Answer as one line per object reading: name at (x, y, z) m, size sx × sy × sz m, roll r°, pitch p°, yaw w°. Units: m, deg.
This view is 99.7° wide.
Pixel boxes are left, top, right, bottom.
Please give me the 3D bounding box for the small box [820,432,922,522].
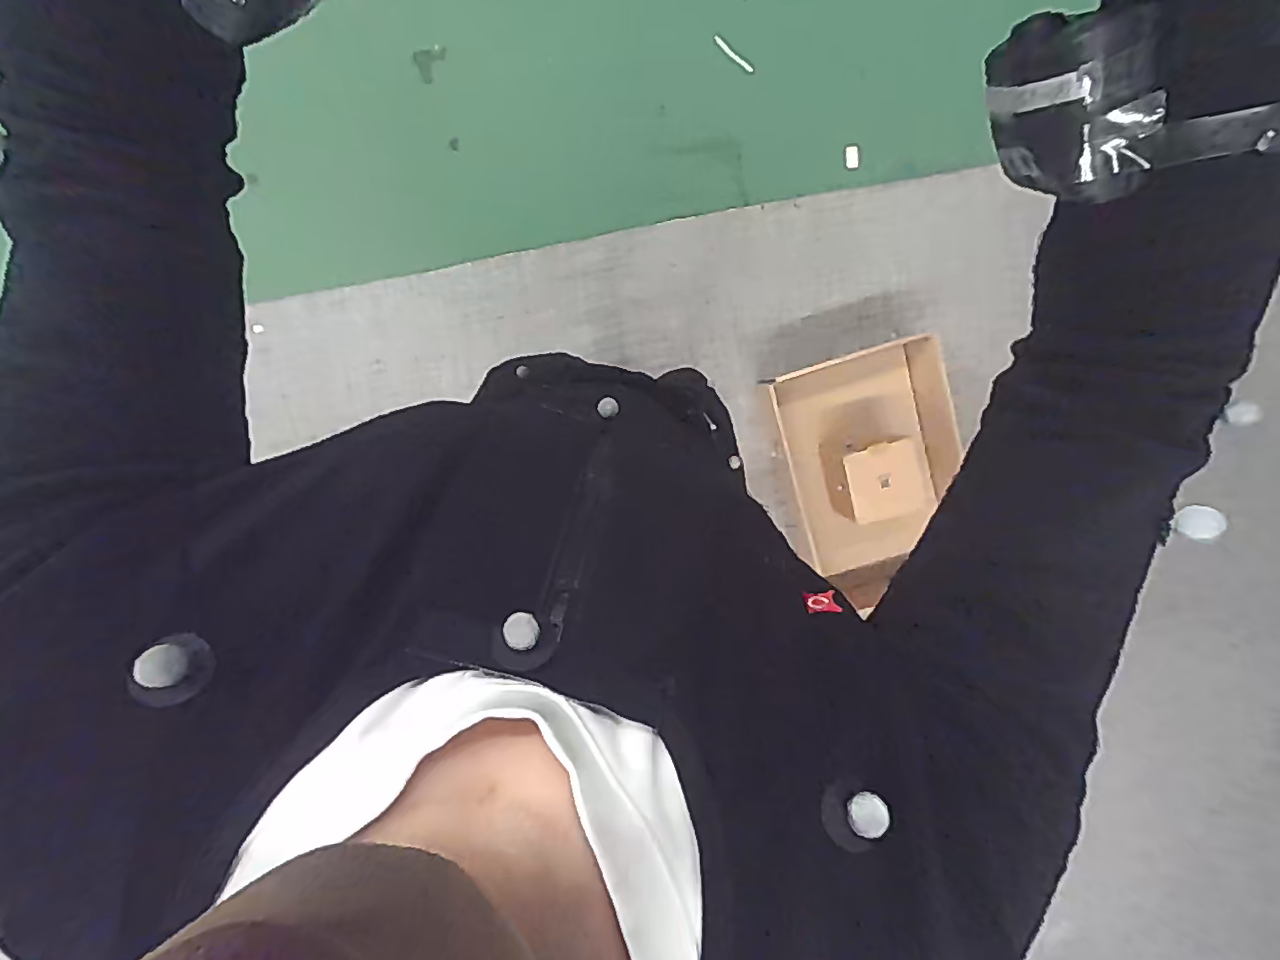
small box at (0.564, -0.015, 1.343) m, size 0.168 × 0.176 × 0.179 m, roll -16°, pitch 101°, yaw 2°
